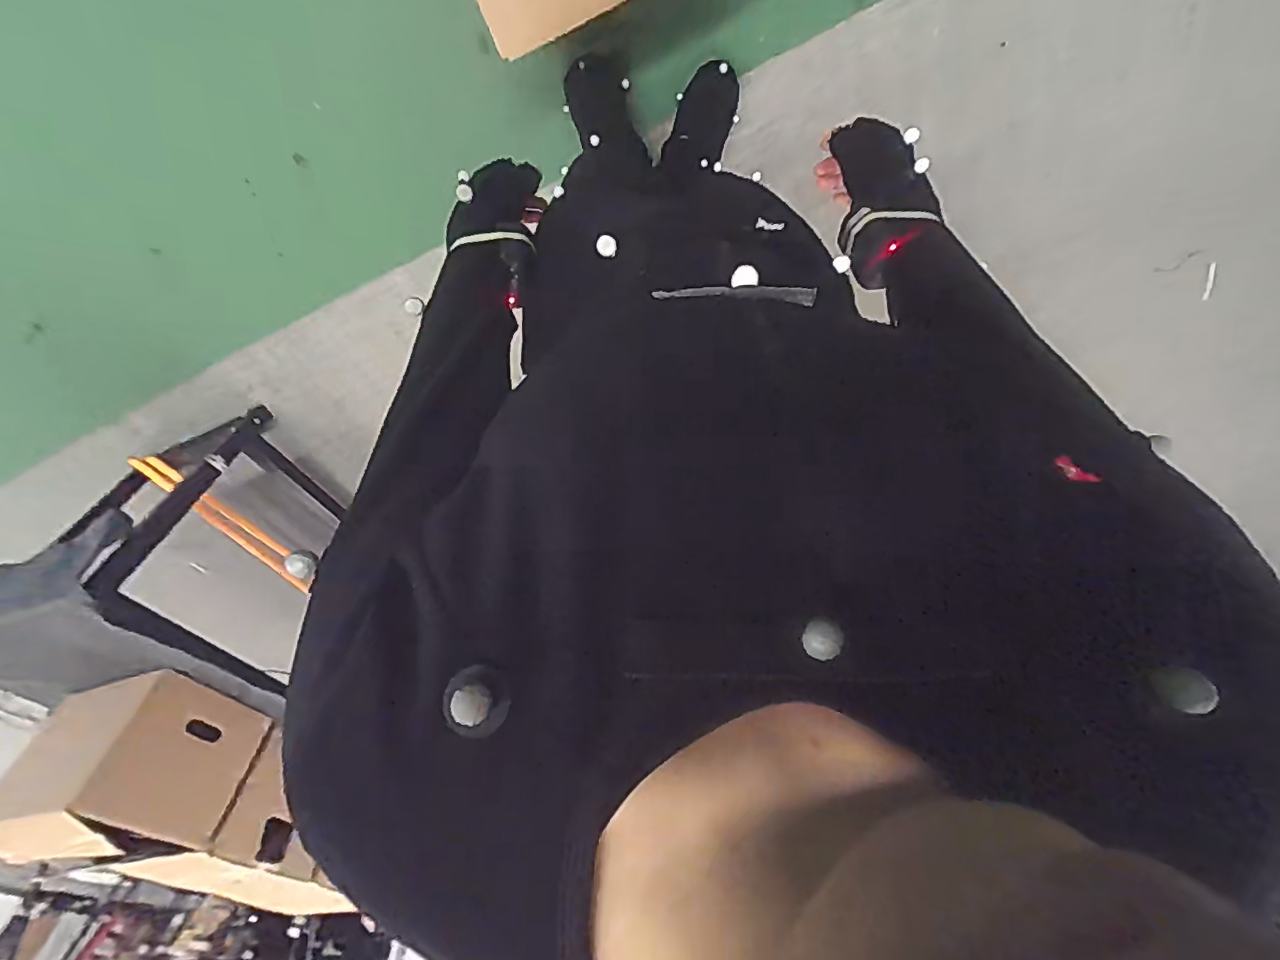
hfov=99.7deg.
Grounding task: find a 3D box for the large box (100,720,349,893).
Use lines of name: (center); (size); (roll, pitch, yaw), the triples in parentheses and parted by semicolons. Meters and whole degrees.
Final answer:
large box: (-1.127, 0.915, 1.509); (0.408, 0.320, 0.320); (-19, 129, 17)
